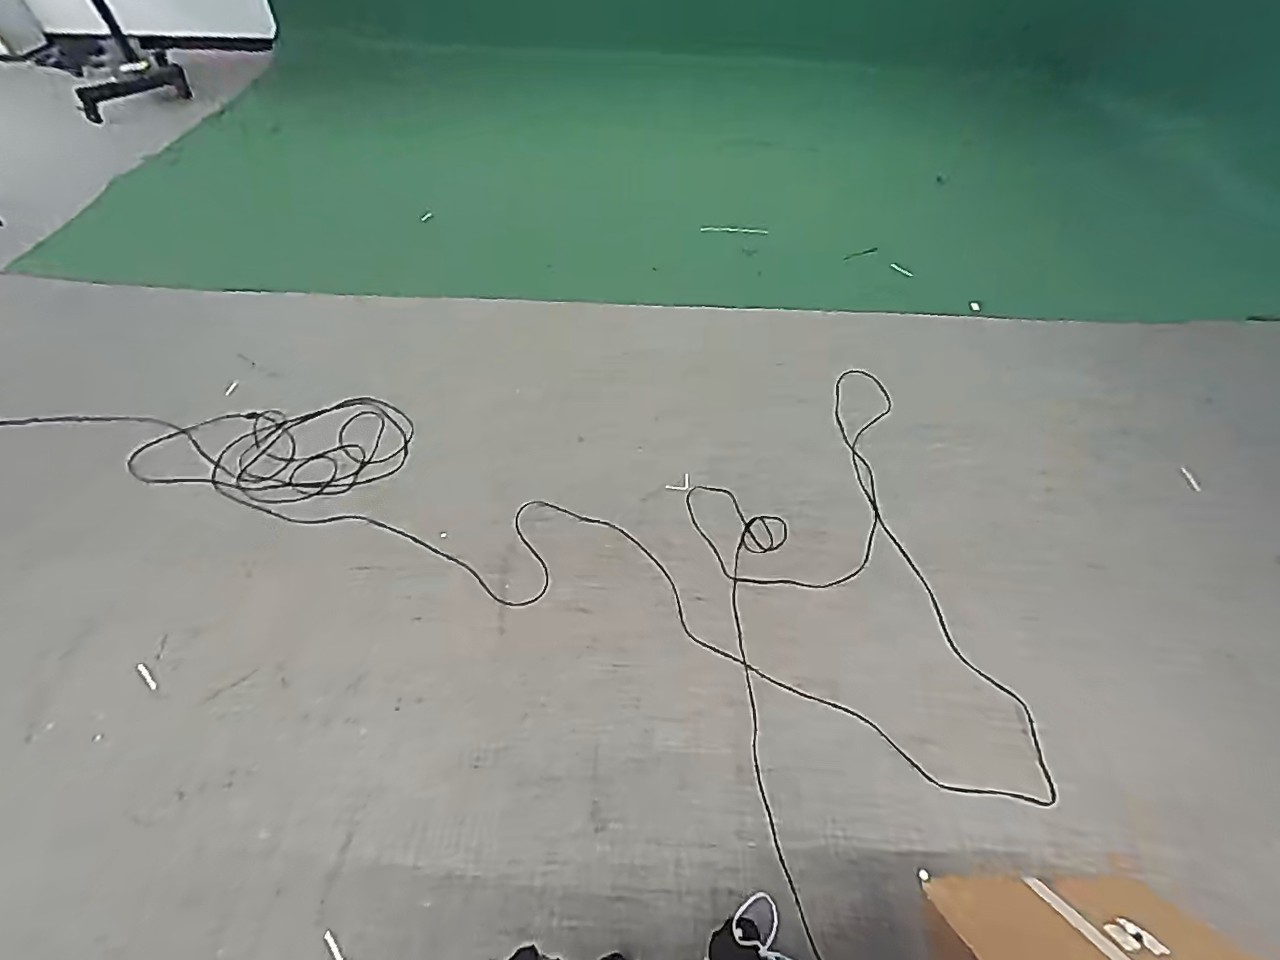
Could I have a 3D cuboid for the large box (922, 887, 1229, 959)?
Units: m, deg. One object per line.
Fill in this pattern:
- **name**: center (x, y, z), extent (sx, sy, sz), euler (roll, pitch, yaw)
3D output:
- **large box**: center (0.575, 0.735, 0.589), extent (0.320, 0.408, 0.320), euler (-3, 81, 3)
